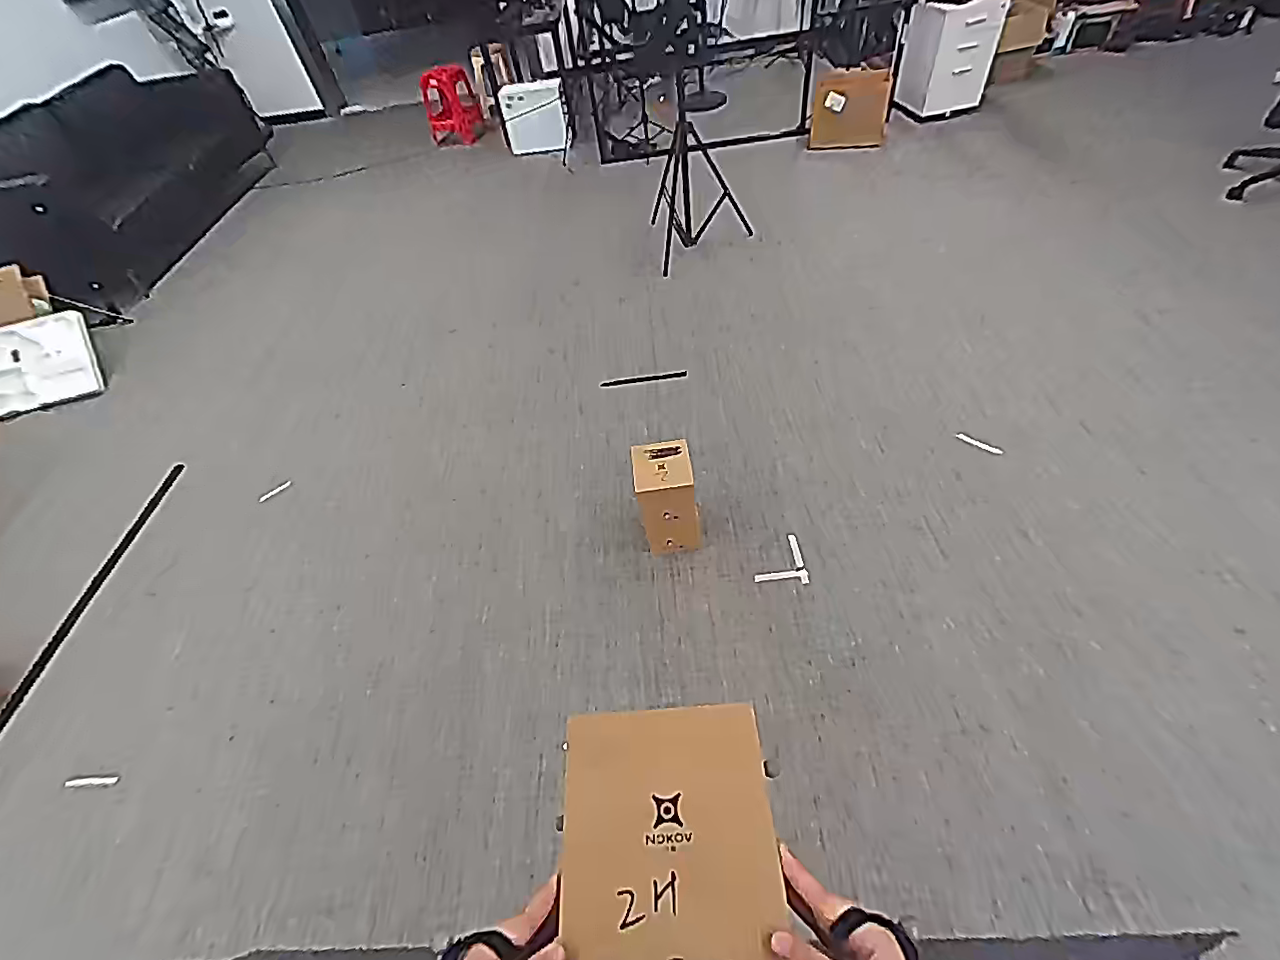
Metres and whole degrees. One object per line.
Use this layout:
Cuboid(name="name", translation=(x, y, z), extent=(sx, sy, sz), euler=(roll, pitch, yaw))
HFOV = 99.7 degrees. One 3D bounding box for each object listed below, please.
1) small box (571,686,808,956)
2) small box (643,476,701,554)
Cuboid(name="small box", translation=(0.039, 0.306, 0.483), extent=(0.168, 0.176, 0.179), euler=(-6, 49, 3))
Cuboid(name="small box", translation=(0.101, 0.113, 1.721), extent=(0.168, 0.176, 0.179), euler=(-7, 50, 3))
